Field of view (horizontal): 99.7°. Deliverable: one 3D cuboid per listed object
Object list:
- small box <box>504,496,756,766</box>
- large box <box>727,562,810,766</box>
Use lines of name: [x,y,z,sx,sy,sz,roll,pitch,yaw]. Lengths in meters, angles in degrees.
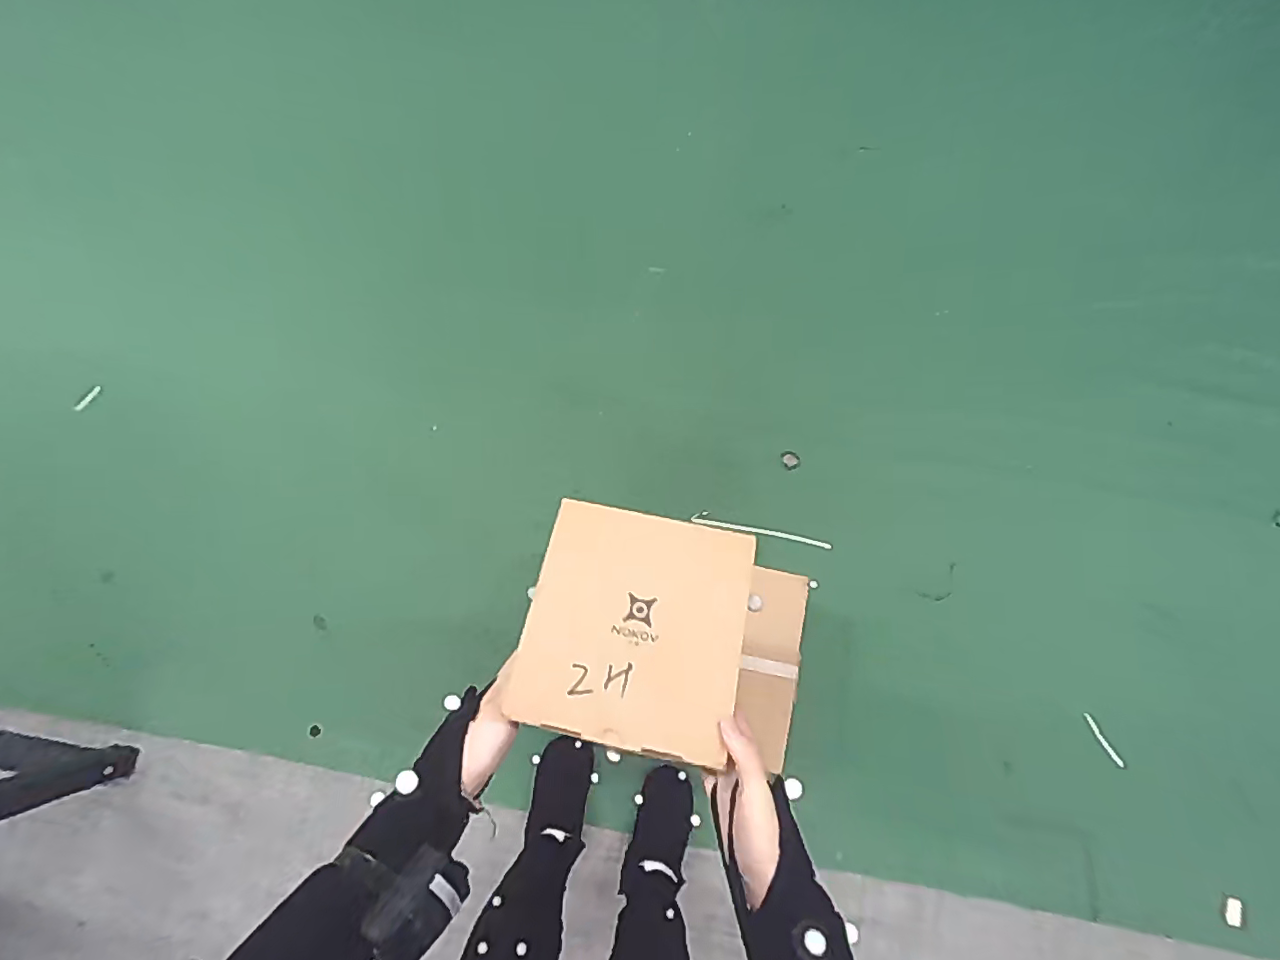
small box: [-0.003,0.138,0.485,0.168,0.176,0.179,11,66,5]
large box: [0.059,0.295,1.022,0.408,0.320,0.320,11,79,2]
